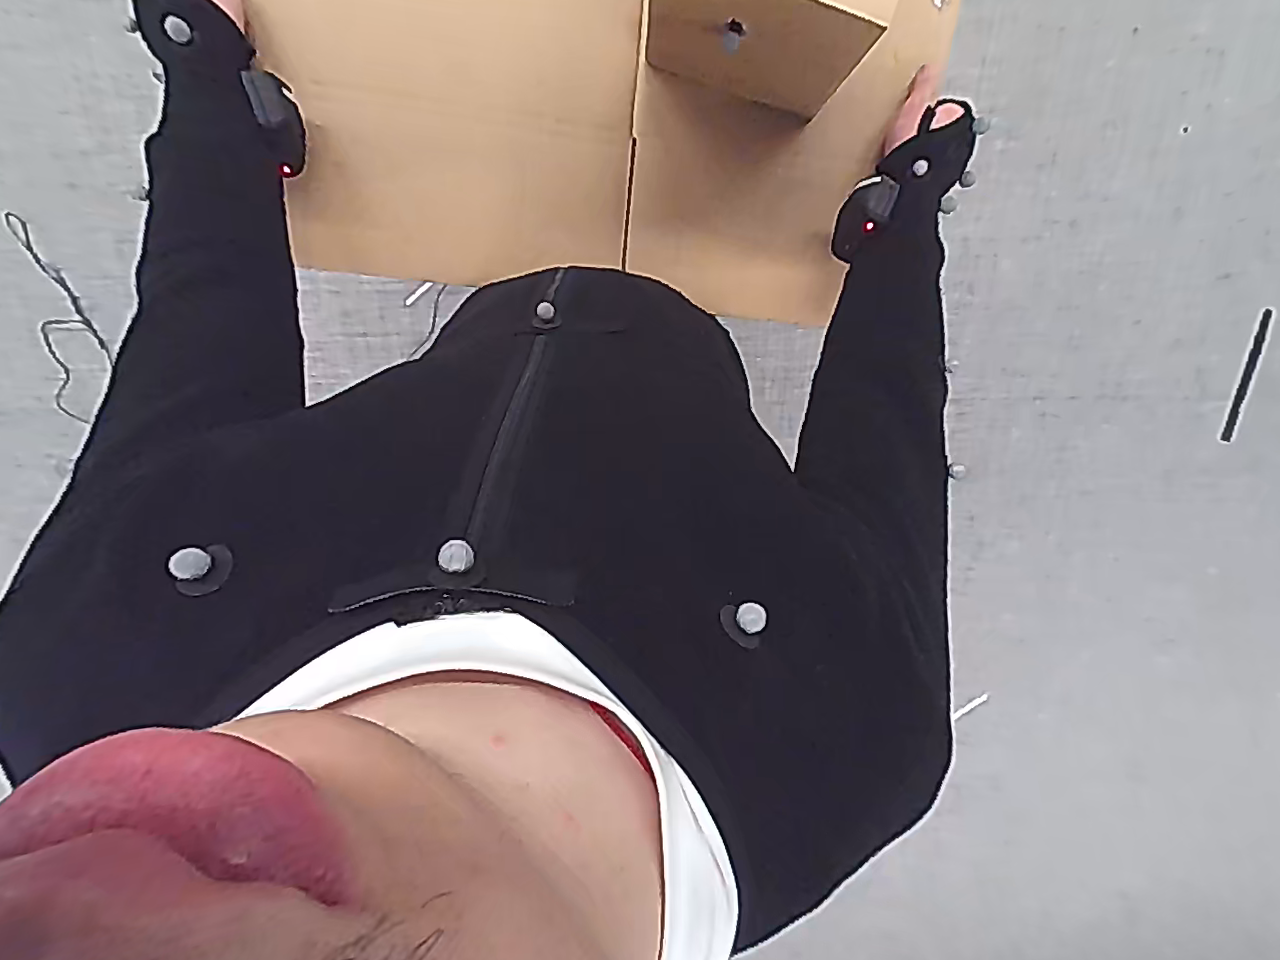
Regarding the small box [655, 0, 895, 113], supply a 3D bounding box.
[{"bbox_3d":[0.115,-0.438,0.439,0.179,0.176,0.168,16,104,-4],"label":"small box"}]
